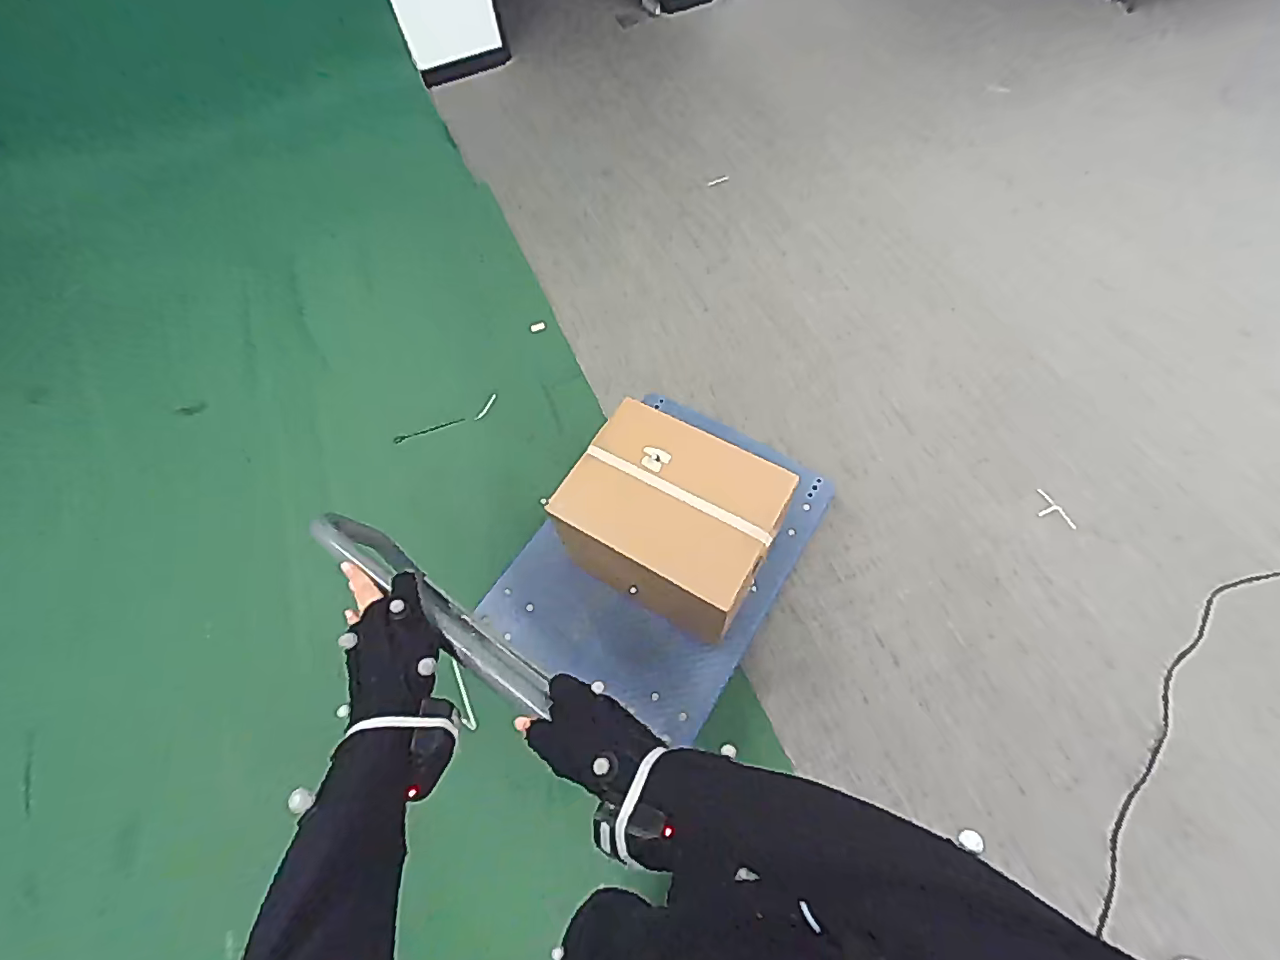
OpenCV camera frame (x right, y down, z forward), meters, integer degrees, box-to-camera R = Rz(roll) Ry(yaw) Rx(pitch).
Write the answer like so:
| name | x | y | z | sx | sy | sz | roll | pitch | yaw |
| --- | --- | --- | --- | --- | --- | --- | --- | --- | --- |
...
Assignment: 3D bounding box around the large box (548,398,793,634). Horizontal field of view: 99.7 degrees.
| name | x | y | z | sx | sy | sz | roll | pitch | yaw |
| --- | --- | --- | --- | --- | --- | --- | --- | --- | --- |
| large box | 0.074 | 0.087 | 1.202 | 0.408 | 0.320 | 0.320 | 26 | 67 | 18 |
